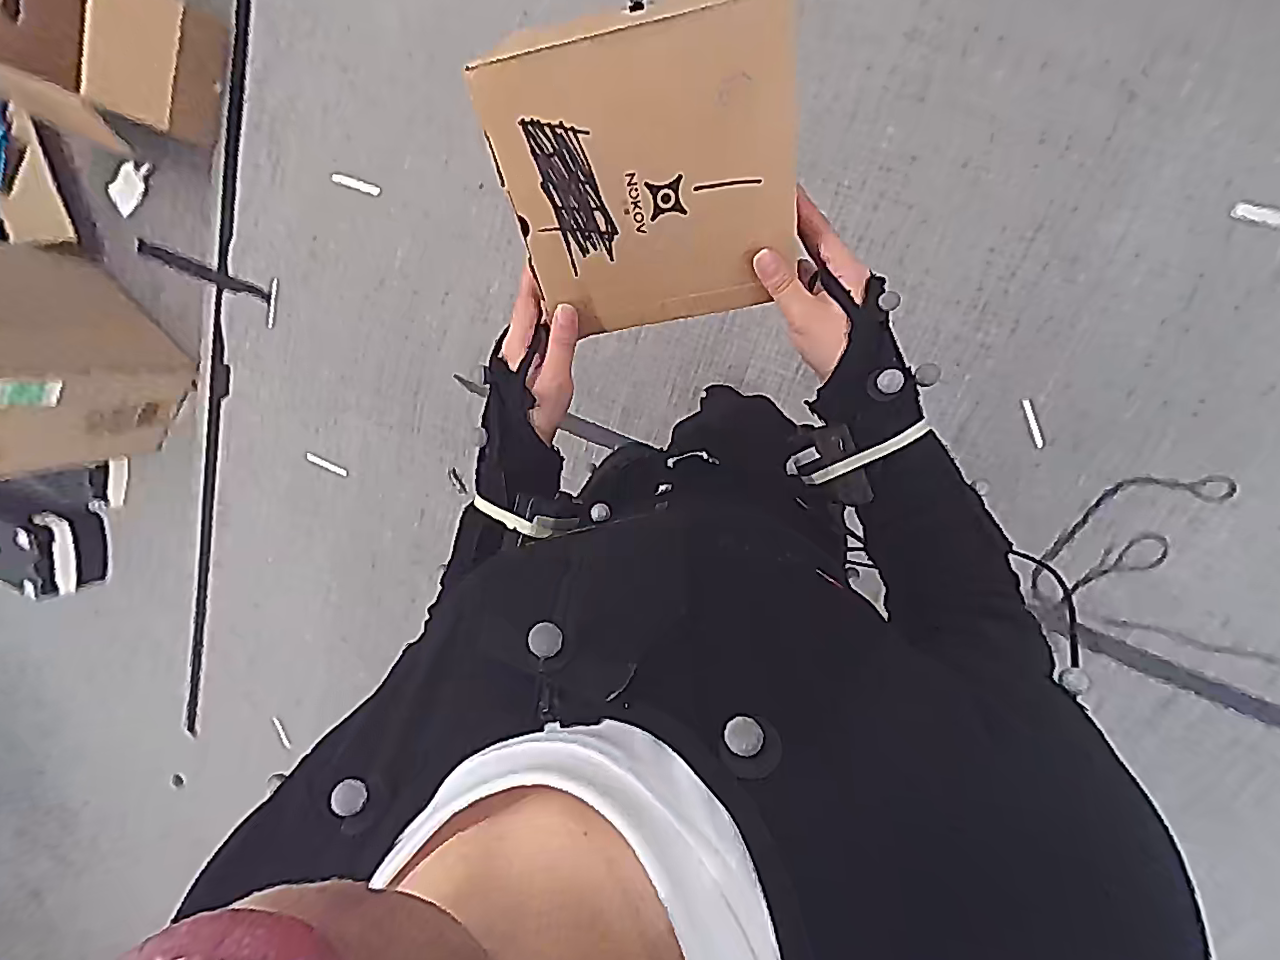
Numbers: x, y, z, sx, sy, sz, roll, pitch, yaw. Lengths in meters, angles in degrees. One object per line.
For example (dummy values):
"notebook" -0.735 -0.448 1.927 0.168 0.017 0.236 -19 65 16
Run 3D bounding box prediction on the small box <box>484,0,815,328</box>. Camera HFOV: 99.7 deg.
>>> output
"small box" 0.015 -0.233 0.386 0.179 0.176 0.168 -7 134 7
